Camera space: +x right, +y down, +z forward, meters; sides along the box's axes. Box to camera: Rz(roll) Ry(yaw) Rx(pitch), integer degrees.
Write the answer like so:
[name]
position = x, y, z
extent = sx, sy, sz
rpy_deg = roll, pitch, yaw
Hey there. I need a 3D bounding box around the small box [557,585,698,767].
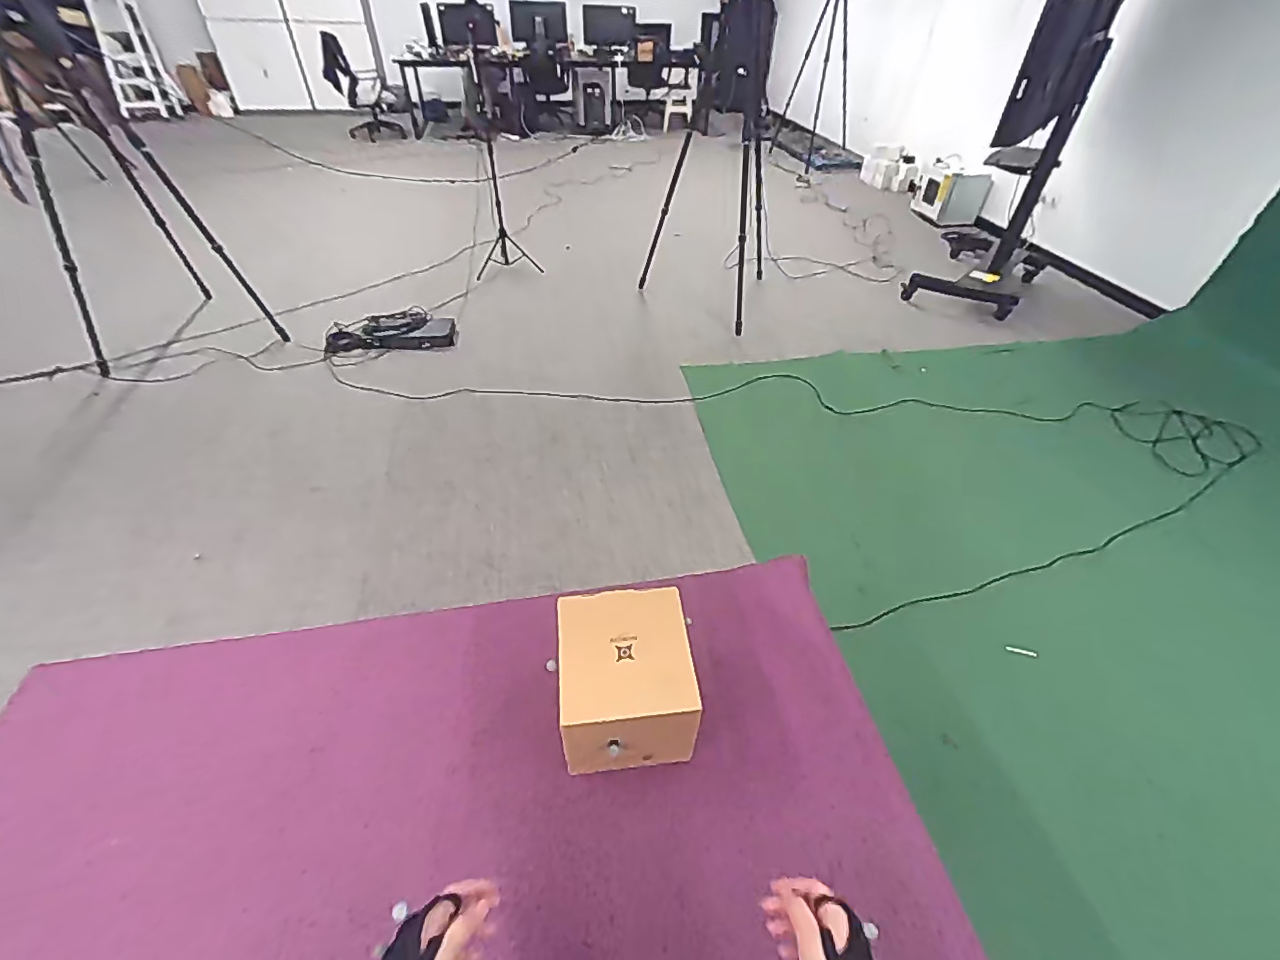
[small box]
position = -0.020, 0.269, 0.731
extent = 0.168, 0.176, 0.179
rpy_deg = -5, 43, -5
